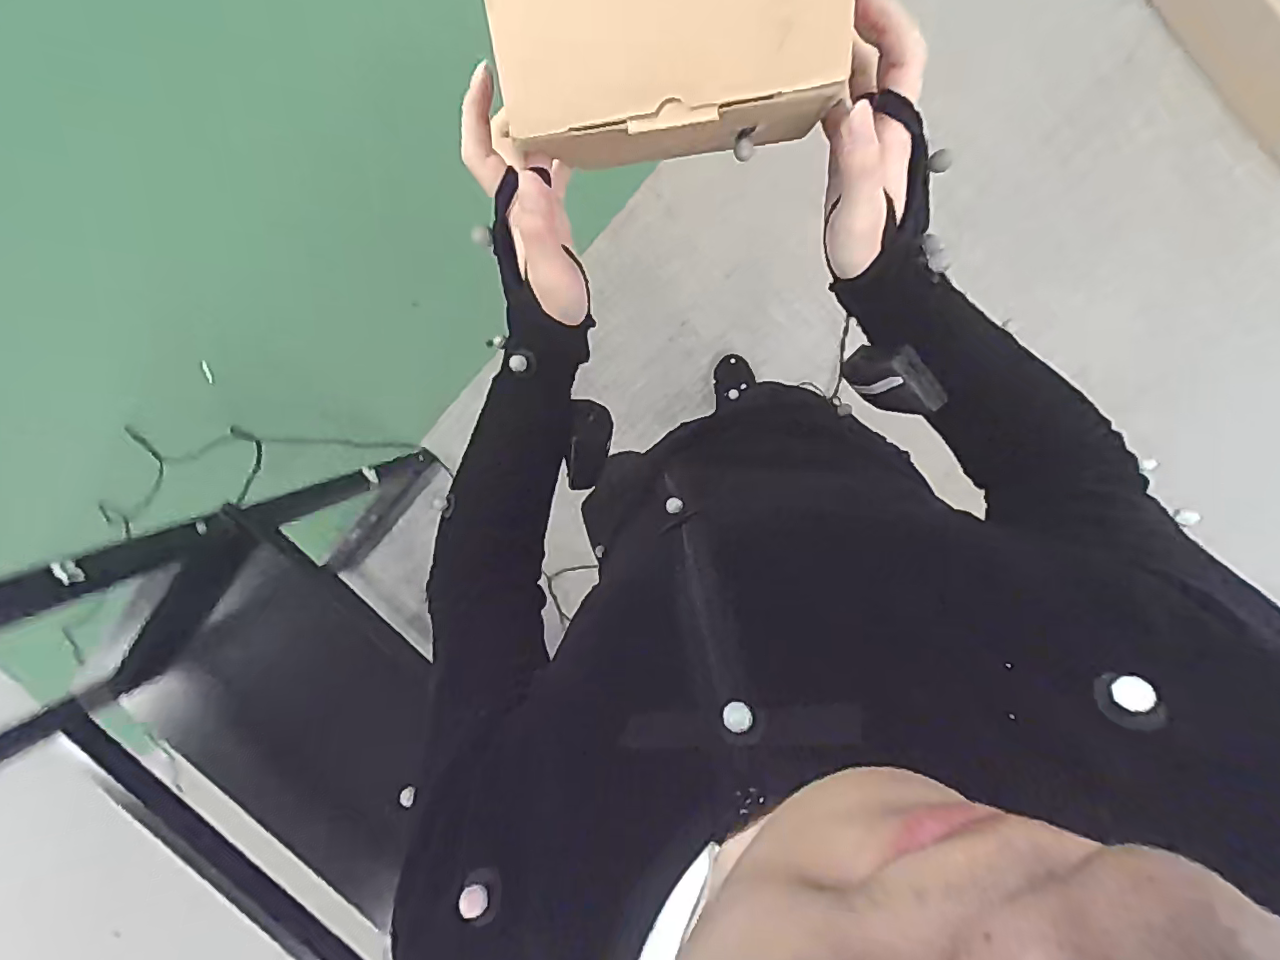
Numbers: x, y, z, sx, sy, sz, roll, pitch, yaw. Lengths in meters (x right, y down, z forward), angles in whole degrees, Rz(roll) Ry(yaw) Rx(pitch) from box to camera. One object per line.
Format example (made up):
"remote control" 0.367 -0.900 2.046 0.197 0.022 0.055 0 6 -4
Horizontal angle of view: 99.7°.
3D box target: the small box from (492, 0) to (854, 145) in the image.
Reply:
"small box" 0.020 -0.294 0.292 0.168 0.176 0.179 -1 114 10
